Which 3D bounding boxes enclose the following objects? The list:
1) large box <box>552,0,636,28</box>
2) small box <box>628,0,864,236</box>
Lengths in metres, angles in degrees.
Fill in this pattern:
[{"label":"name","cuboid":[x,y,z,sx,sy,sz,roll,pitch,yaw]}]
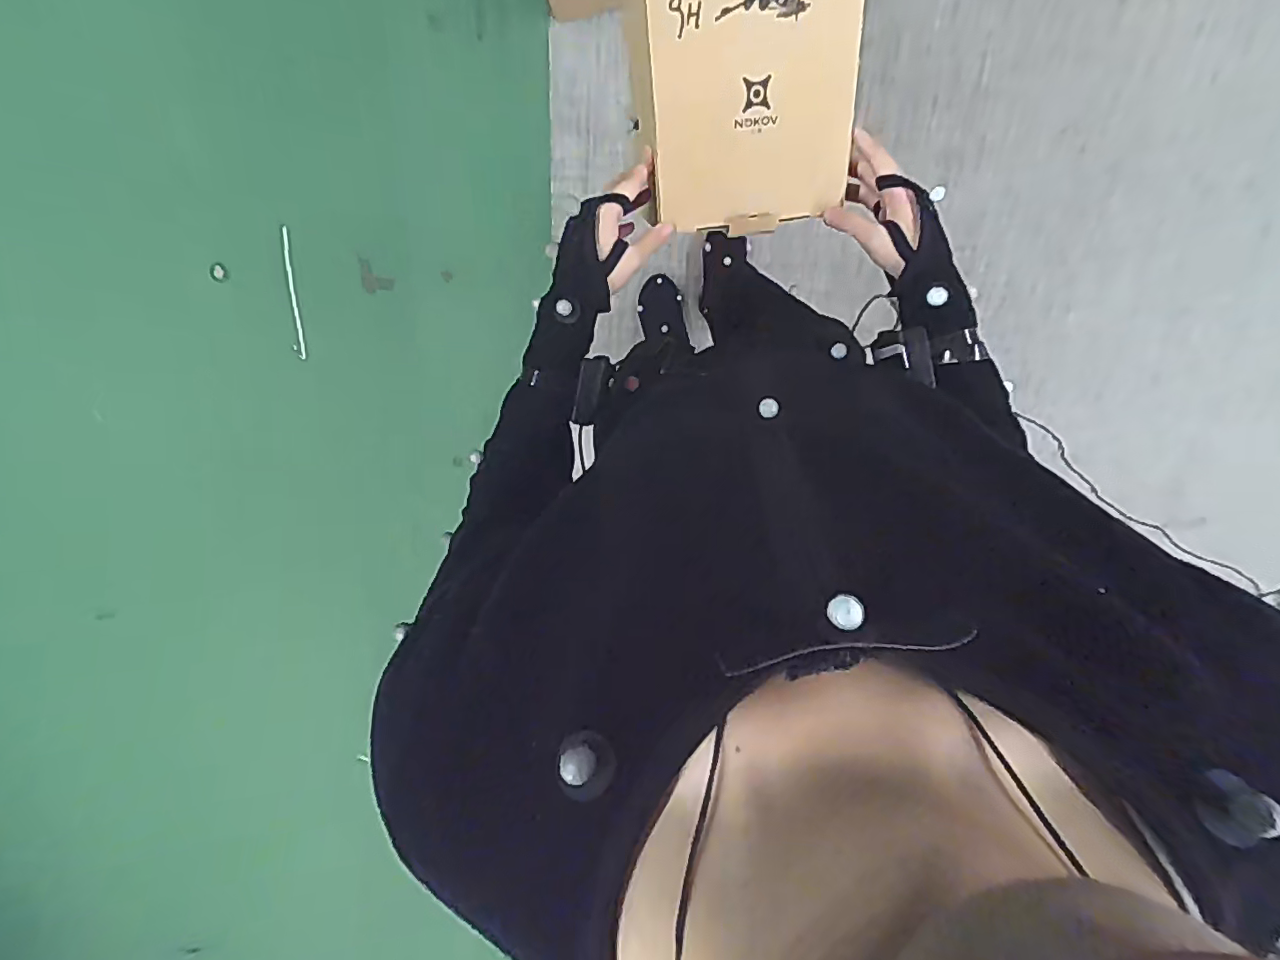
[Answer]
[{"label":"large box","cuboid":[-0.003,-1.092,0.963,0.408,0.320,0.320,-10,111,5]},{"label":"small box","cuboid":[0.083,-0.340,0.499,0.168,0.176,0.179,-8,122,-2]}]
